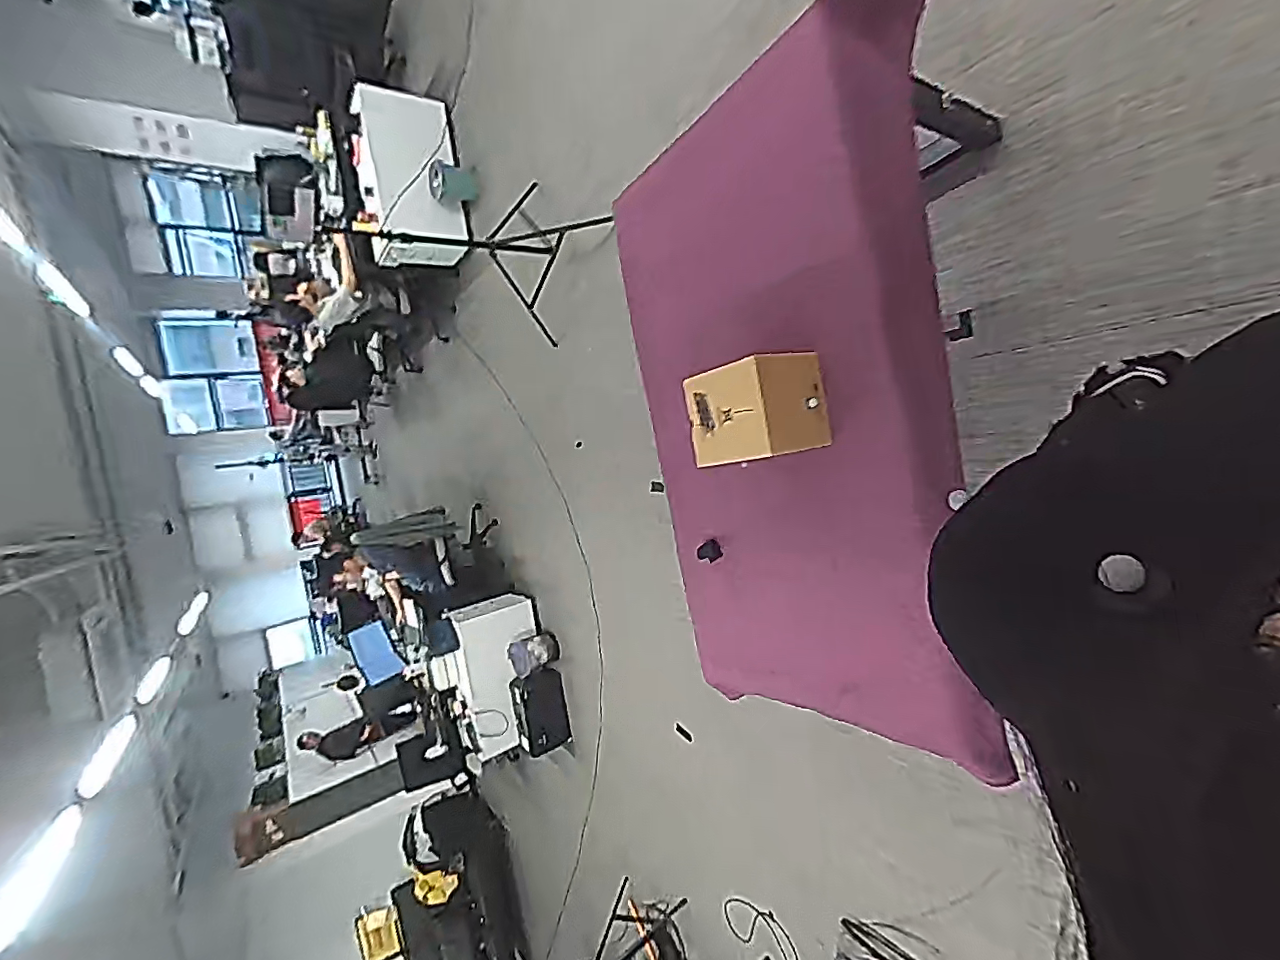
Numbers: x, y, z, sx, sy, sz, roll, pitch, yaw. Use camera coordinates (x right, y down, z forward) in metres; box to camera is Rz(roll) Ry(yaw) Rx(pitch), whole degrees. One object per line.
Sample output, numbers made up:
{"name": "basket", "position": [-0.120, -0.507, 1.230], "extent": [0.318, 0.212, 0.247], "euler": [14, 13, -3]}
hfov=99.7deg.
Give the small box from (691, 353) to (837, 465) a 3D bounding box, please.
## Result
{"name": "small box", "position": [0.220, -0.124, 0.968], "extent": [0.179, 0.176, 0.168], "euler": [-9, 93, 55]}
